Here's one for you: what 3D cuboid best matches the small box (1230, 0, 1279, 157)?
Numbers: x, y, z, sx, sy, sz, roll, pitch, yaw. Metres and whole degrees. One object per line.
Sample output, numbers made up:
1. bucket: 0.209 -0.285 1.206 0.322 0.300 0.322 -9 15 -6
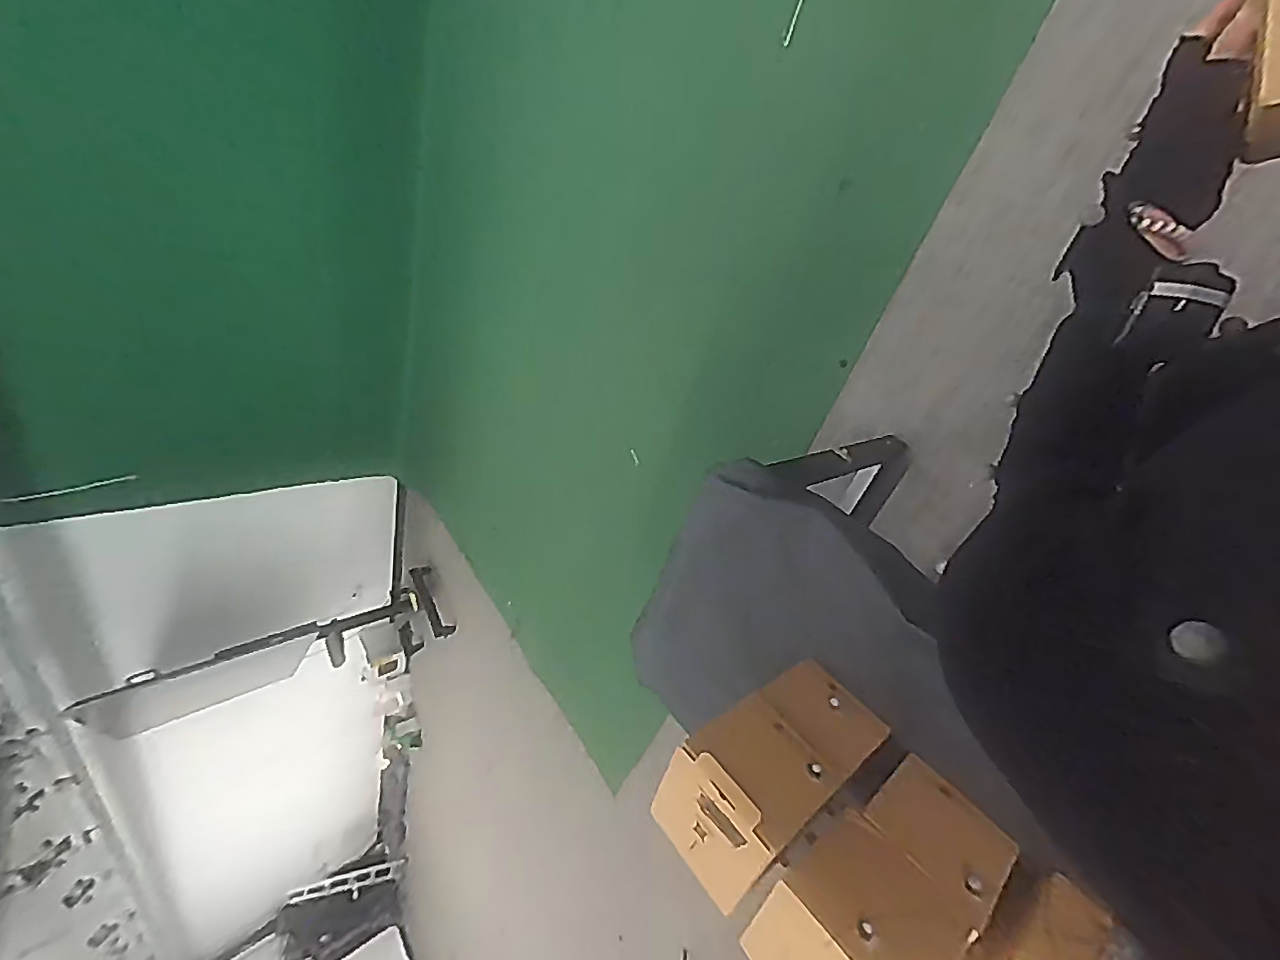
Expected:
1. small box: 0.461 -0.304 0.290 0.179 0.176 0.168 6 104 44
